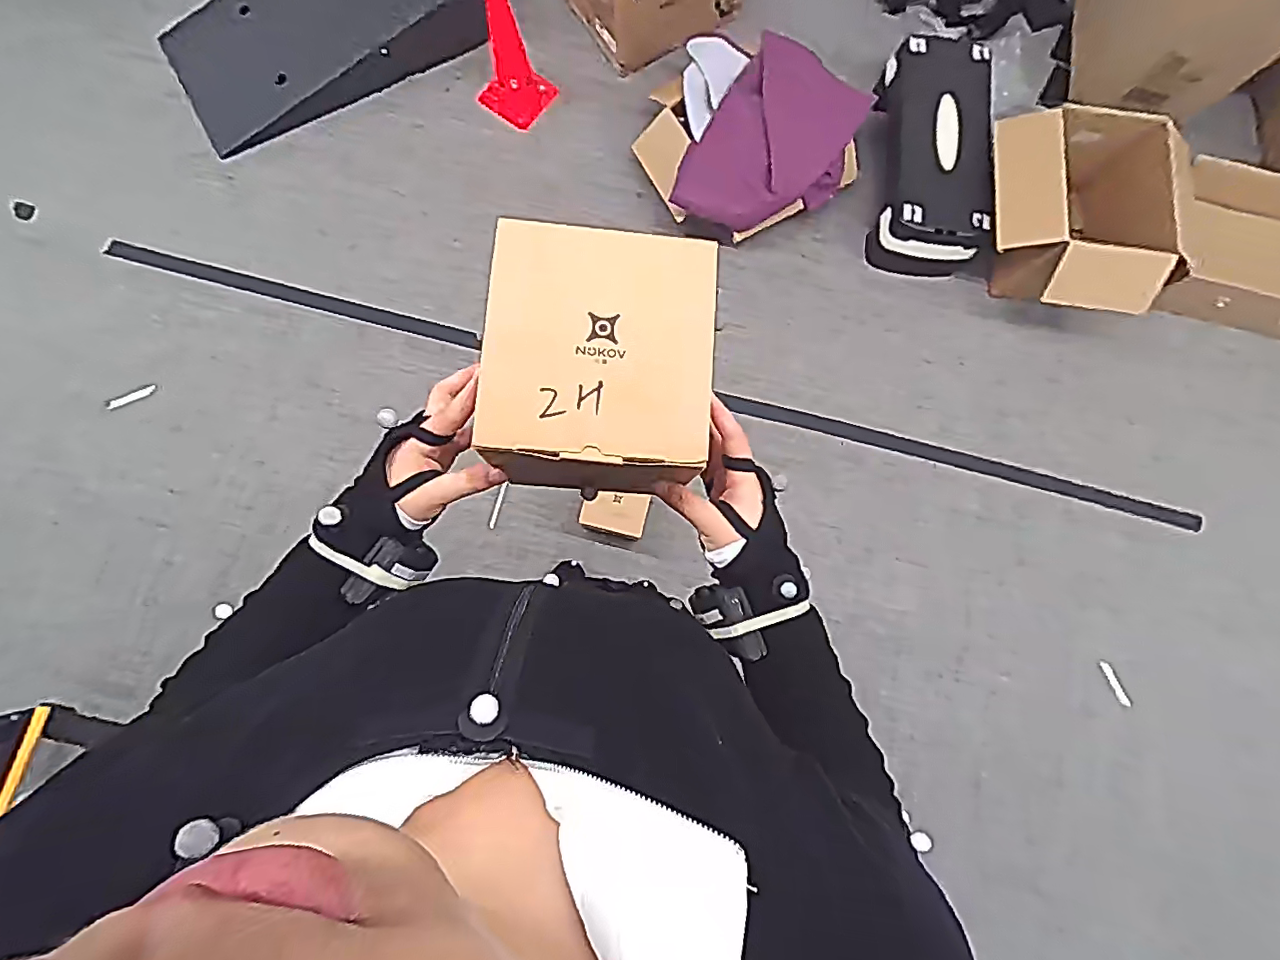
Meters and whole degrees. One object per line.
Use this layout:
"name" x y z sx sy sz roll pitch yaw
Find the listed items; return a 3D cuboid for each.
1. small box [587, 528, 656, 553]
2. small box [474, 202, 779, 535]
"small box" -0.034 0.084 1.382 0.168 0.176 0.179 13 82 1
"small box" -0.009 -0.058 0.384 0.168 0.176 0.179 4 81 -4
